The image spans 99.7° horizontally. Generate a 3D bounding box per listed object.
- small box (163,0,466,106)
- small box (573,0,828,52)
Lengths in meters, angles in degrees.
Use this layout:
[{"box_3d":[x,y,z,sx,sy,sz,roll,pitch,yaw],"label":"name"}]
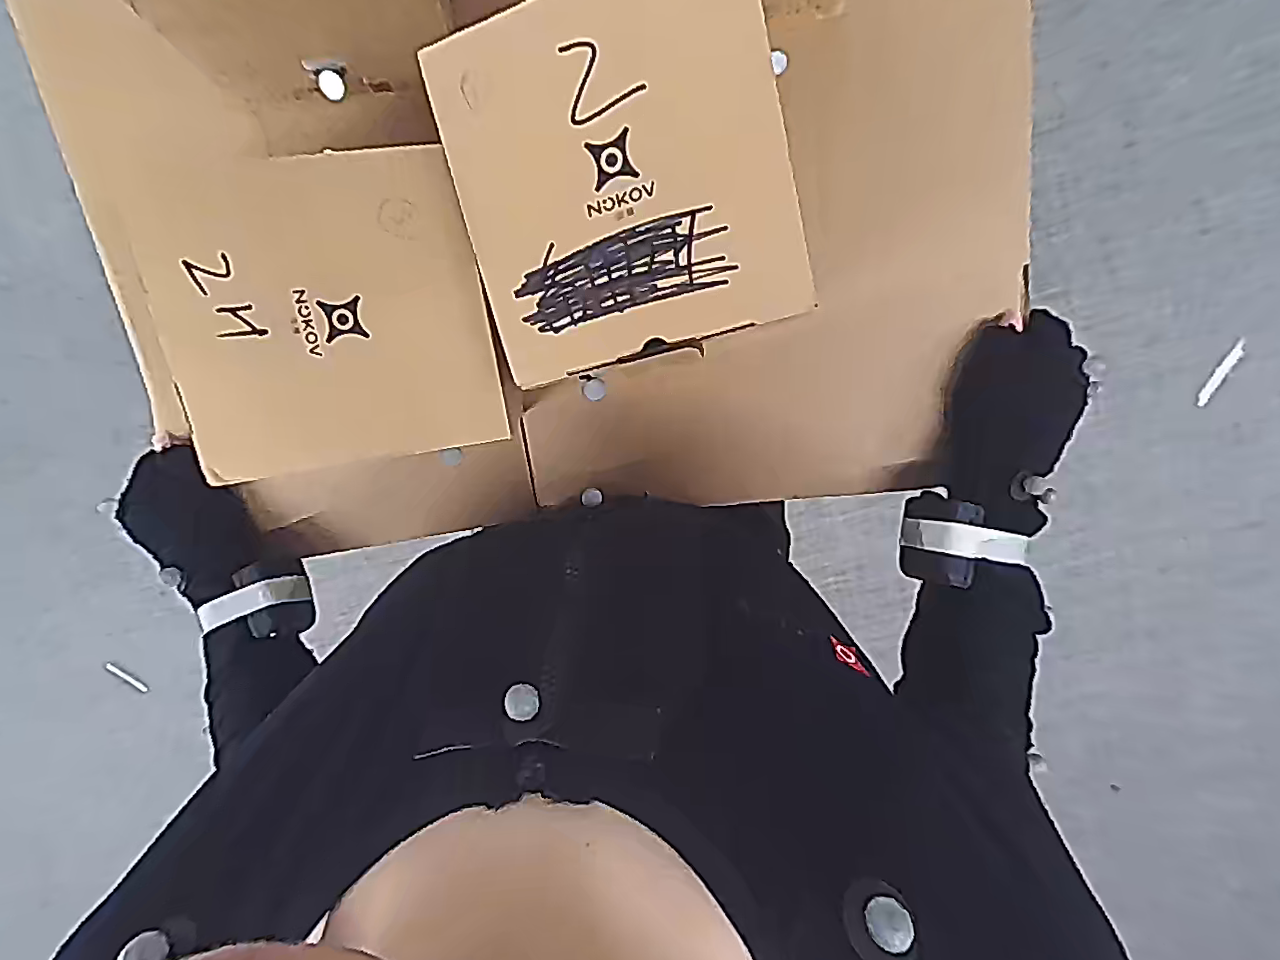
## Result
[{"box_3d":[-0.215,-0.365,0.324,0.168,0.176,0.179,-11,103,-7],"label":"small box"},{"box_3d":[0.027,-0.374,0.292,0.168,0.176,0.179,-5,102,13],"label":"small box"}]
